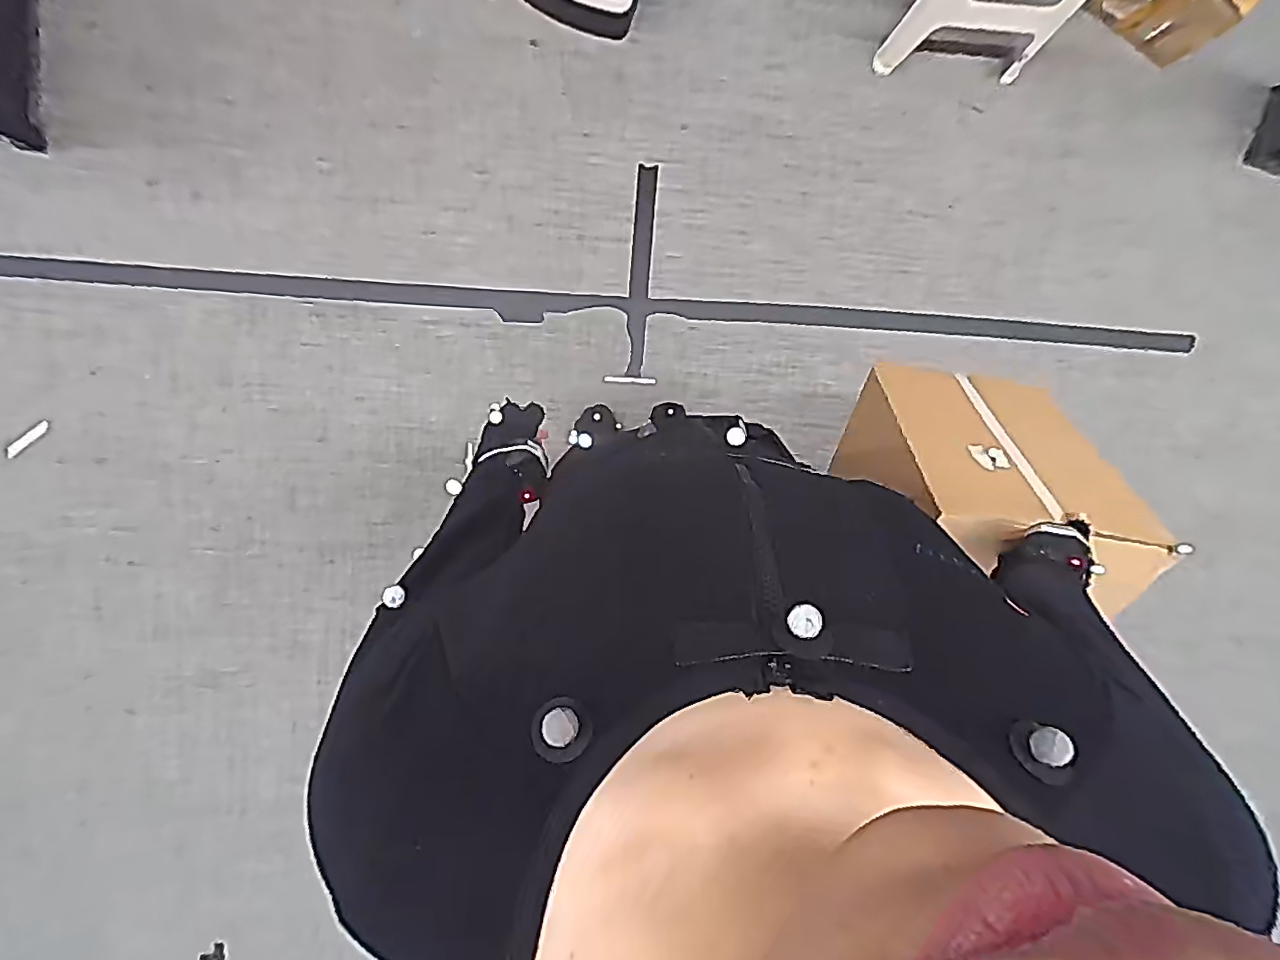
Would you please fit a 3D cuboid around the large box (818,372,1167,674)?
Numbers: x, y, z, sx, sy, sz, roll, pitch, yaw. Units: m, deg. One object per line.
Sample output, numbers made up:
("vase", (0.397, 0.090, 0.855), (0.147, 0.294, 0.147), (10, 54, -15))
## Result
("large box", (0.540, 0.063, 0.951), (0.320, 0.408, 0.320), (9, 131, 0))
